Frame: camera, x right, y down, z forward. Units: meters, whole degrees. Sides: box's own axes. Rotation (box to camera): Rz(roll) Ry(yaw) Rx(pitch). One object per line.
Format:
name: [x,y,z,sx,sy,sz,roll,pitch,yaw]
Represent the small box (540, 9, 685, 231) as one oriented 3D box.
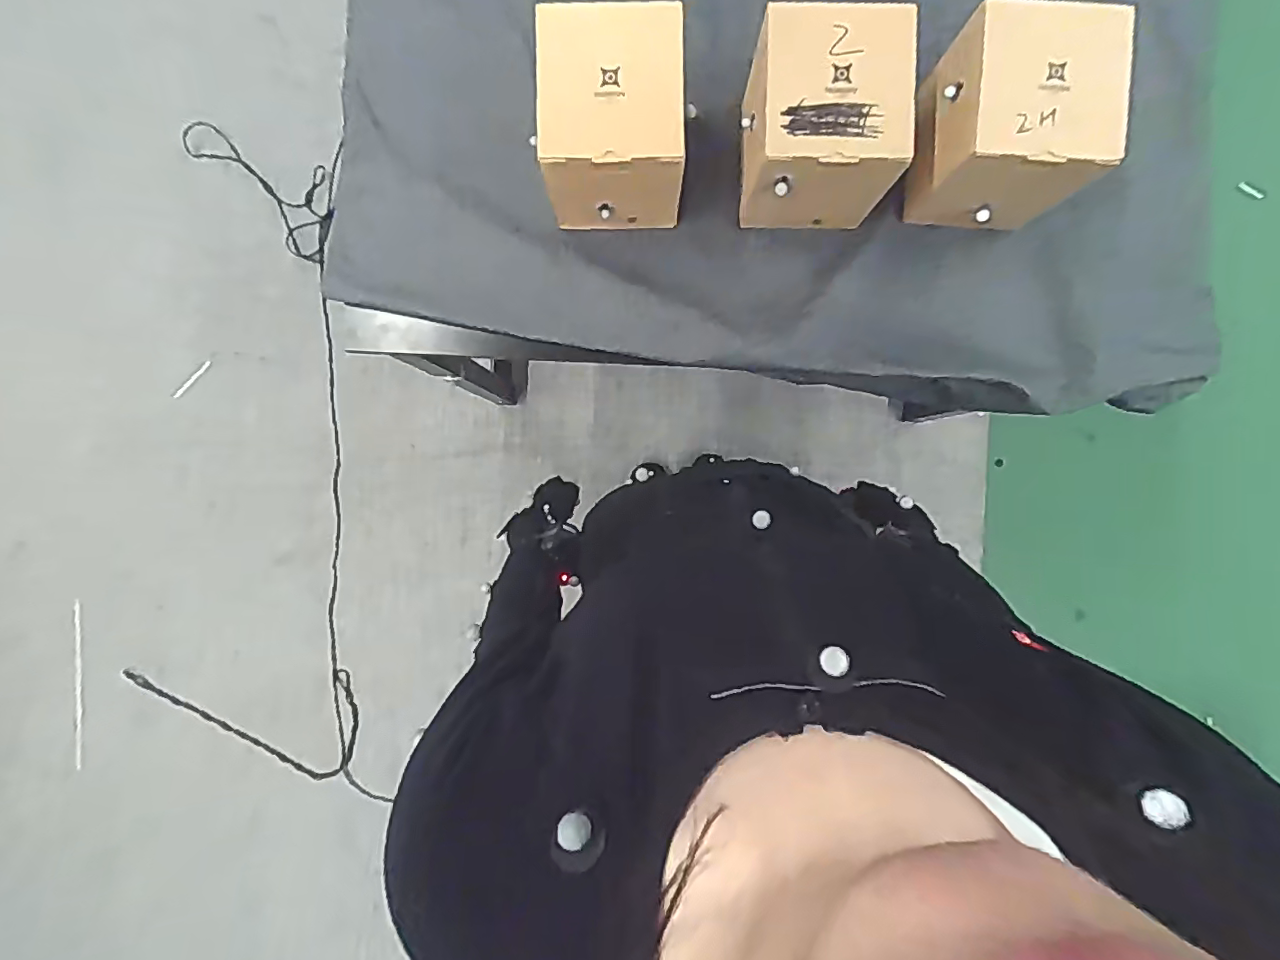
small box: [-0.033,-0.445,0.692,0.168,0.176,0.179,0,91,0]
